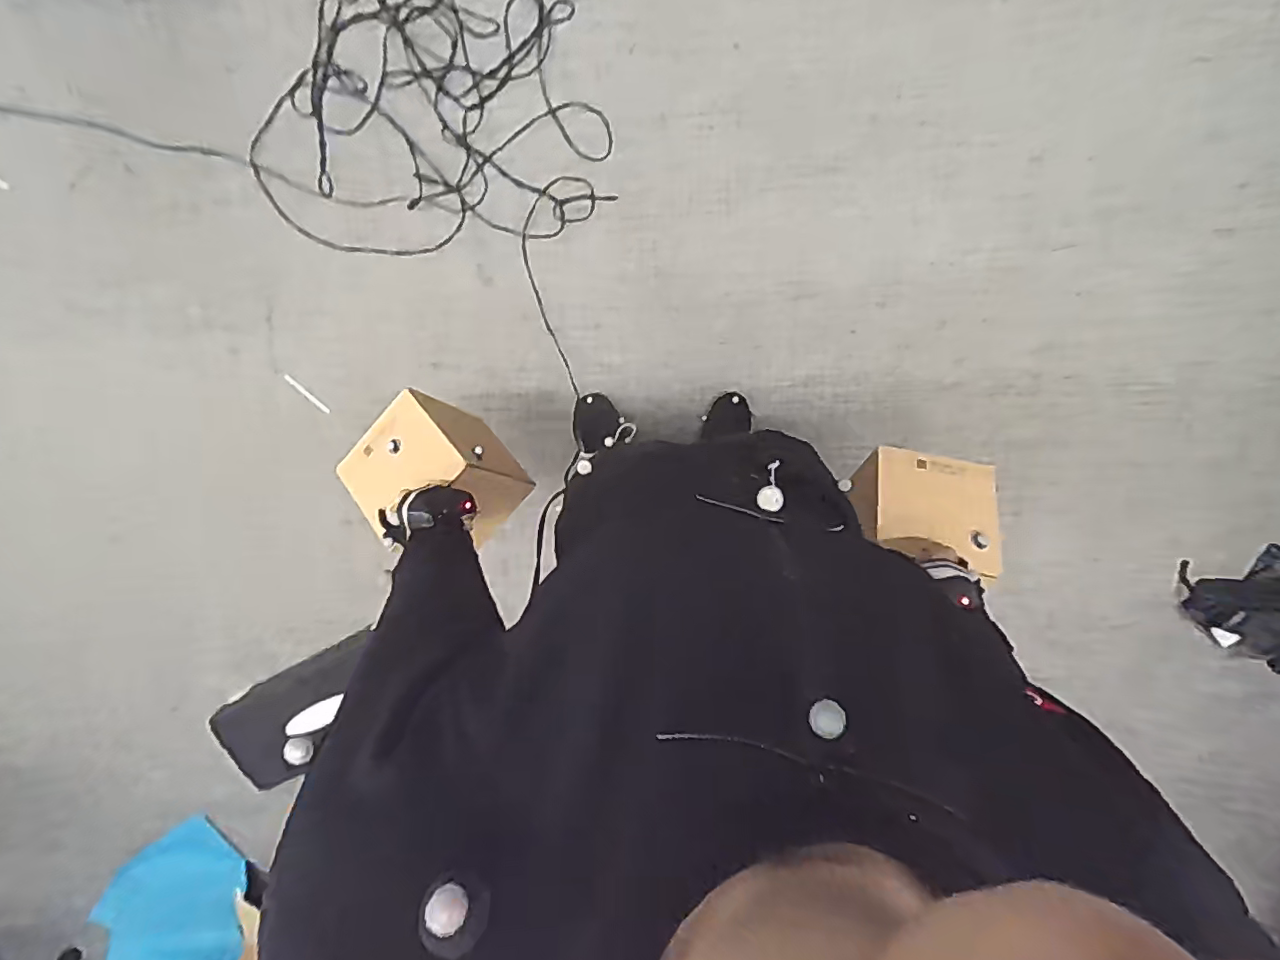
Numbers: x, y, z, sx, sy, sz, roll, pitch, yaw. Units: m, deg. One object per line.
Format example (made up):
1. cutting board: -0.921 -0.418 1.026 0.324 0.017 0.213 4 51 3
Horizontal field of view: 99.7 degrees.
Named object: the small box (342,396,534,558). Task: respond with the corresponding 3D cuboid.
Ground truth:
1. small box: -0.302 -0.001 0.820 0.168 0.179 0.176 -46 68 8
